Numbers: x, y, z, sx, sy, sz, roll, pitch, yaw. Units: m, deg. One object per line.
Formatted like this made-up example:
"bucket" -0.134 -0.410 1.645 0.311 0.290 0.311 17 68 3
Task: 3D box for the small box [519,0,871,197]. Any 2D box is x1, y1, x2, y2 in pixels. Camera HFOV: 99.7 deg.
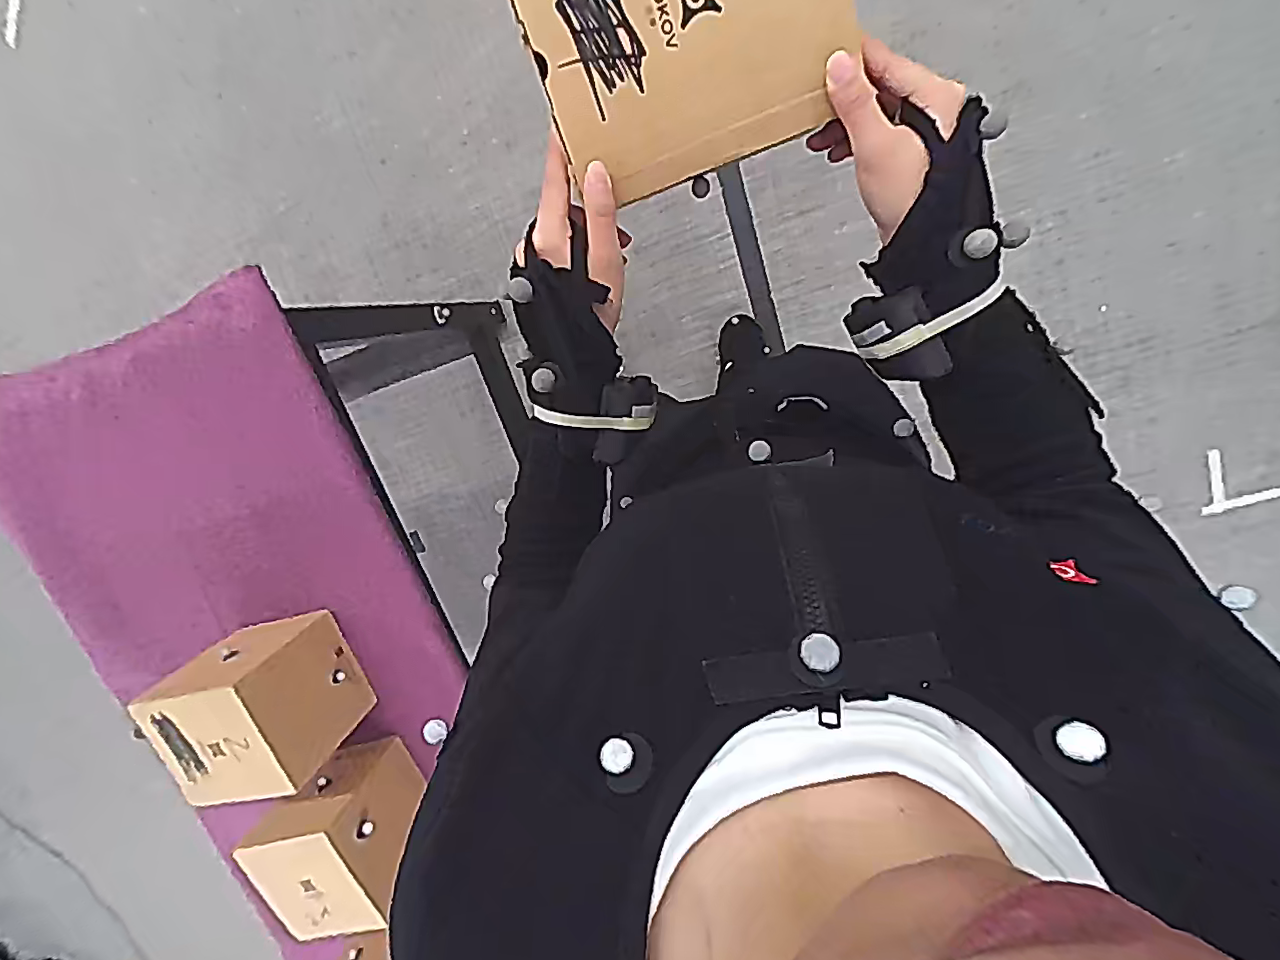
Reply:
"small box" 0.028 -0.300 0.357 0.179 0.176 0.168 -16 116 10

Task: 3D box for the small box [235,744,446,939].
"small box" -0.425 0.518 0.796 0.168 0.176 0.179 -20 104 15
